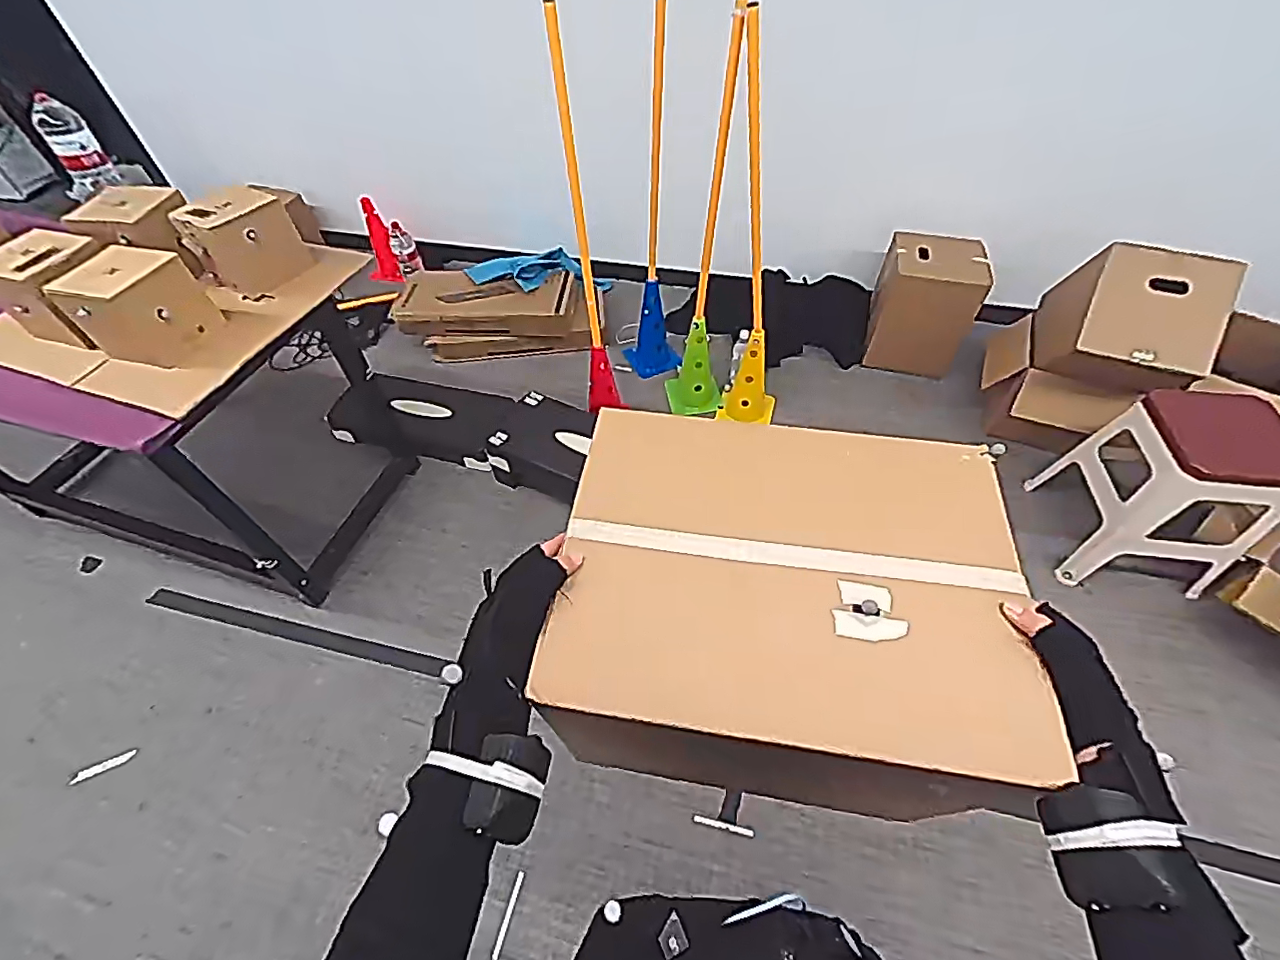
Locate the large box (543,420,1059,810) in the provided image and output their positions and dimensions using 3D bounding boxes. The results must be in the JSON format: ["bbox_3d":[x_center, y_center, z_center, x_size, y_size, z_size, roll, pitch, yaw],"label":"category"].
[{"bbox_3d":[0.138,0.160,0.622,0.408,0.320,0.320,7,56,6],"label":"large box"}]
